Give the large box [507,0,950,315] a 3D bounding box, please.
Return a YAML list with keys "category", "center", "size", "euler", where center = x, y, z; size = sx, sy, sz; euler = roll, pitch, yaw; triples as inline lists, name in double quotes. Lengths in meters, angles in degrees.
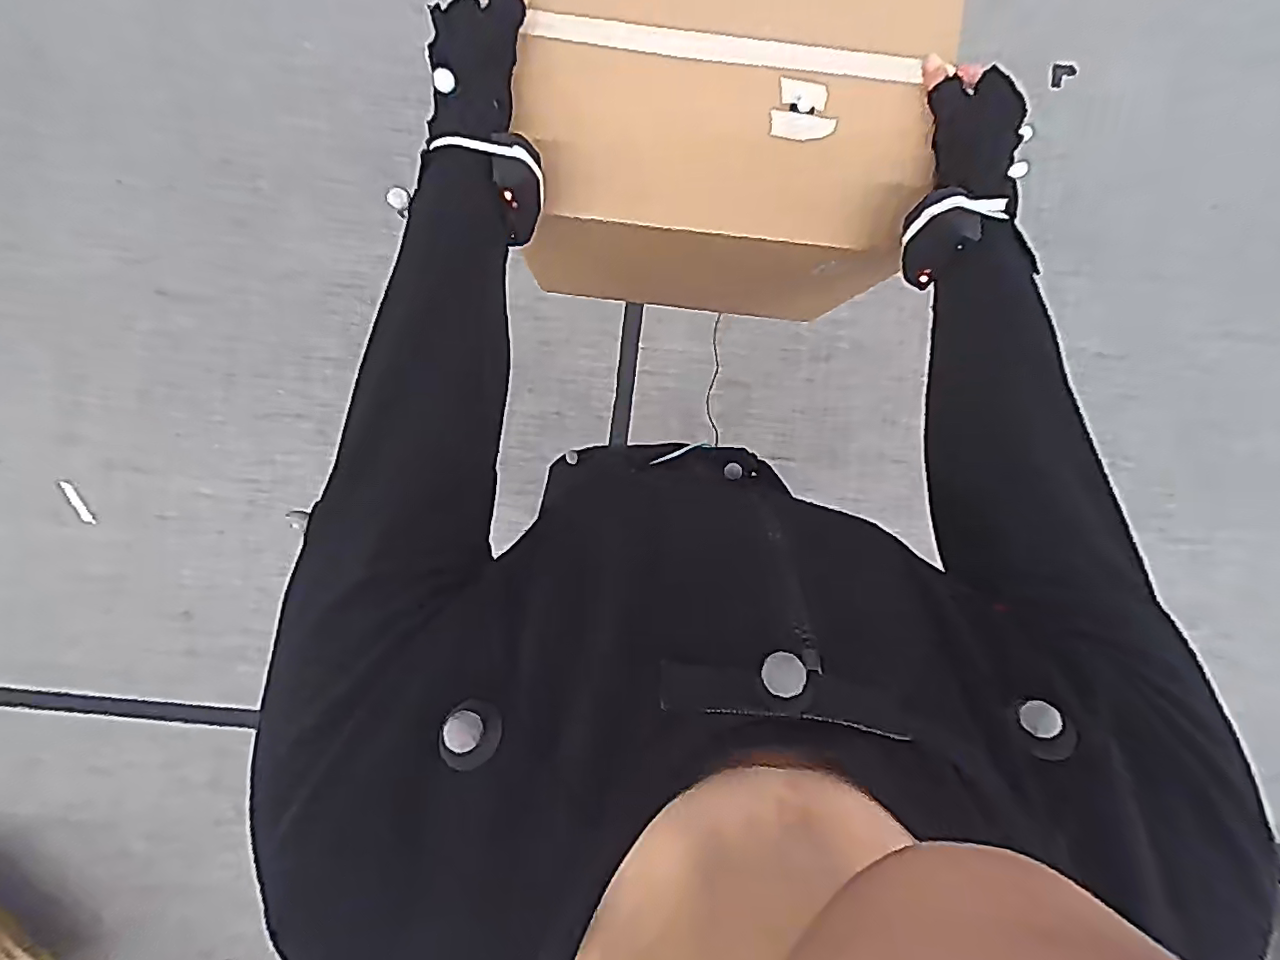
- category: "large box"
  center: [0.074, -0.398, 0.646]
  size: [0.408, 0.320, 0.320]
  euler: [5, 96, -4]
